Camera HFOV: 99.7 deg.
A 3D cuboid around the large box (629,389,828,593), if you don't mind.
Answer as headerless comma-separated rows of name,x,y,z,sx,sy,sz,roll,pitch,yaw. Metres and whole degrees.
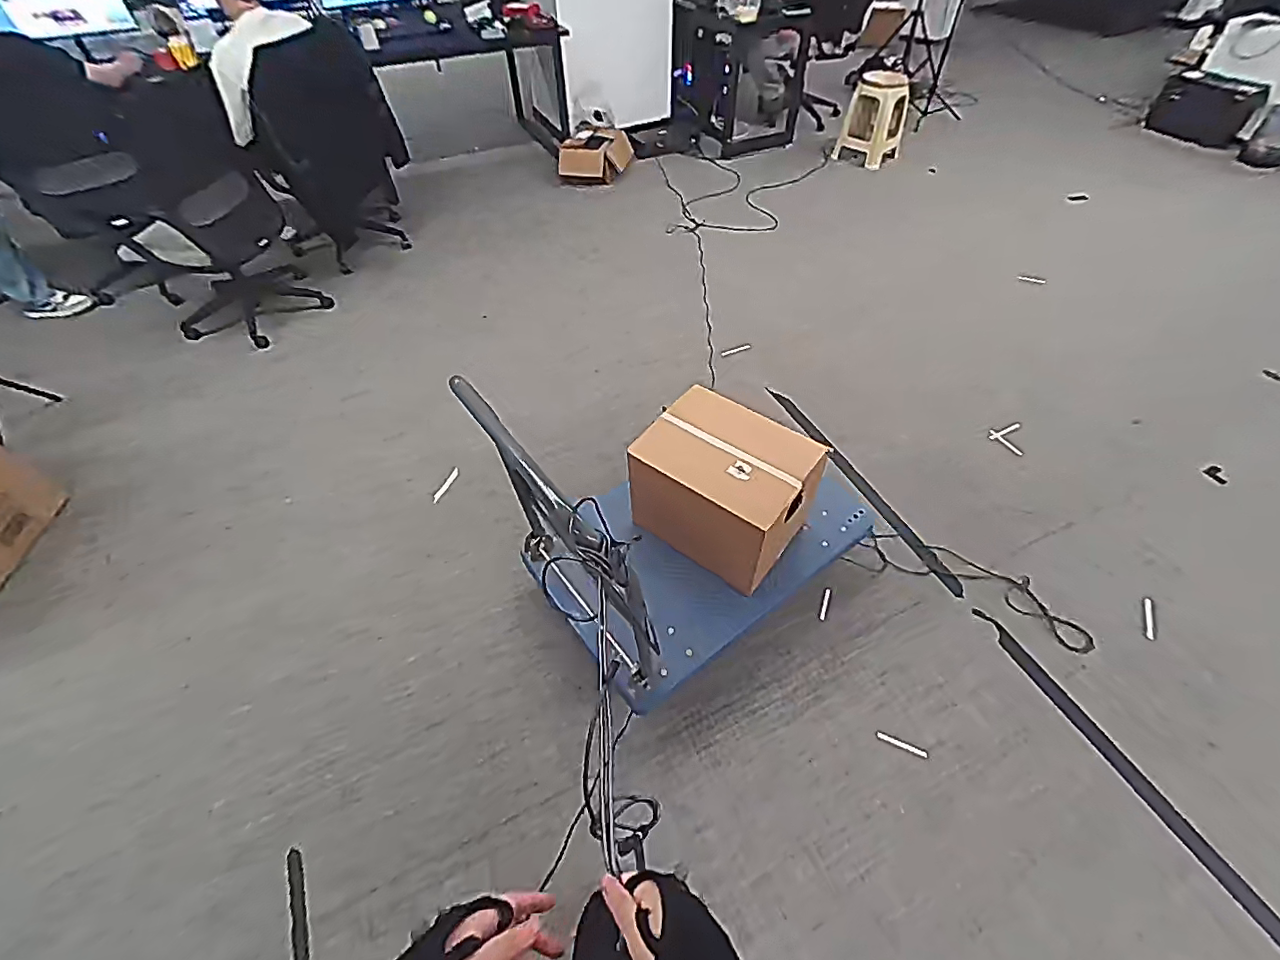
large box,0.219,0.025,1.450,0.408,0.320,0.320,31,59,24
